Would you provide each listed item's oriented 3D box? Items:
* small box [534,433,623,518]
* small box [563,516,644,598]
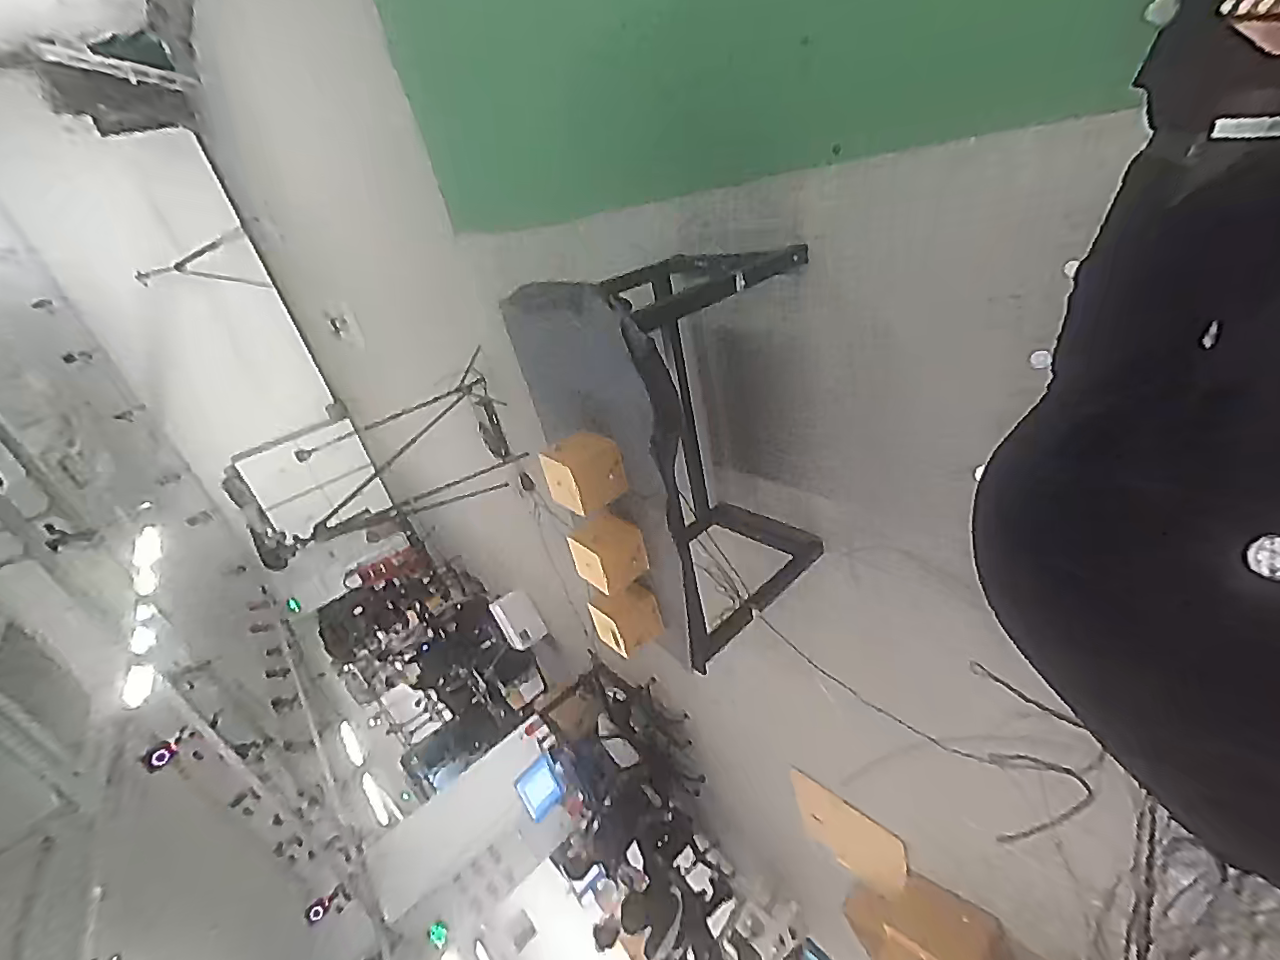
[{"bbox_3d":[-0.174,-0.020,1.558,0.179,0.176,0.168,22,135,45],"label":"small box"},{"bbox_3d":[-0.112,0.233,1.703,0.179,0.176,0.168,21,133,45],"label":"small box"}]
